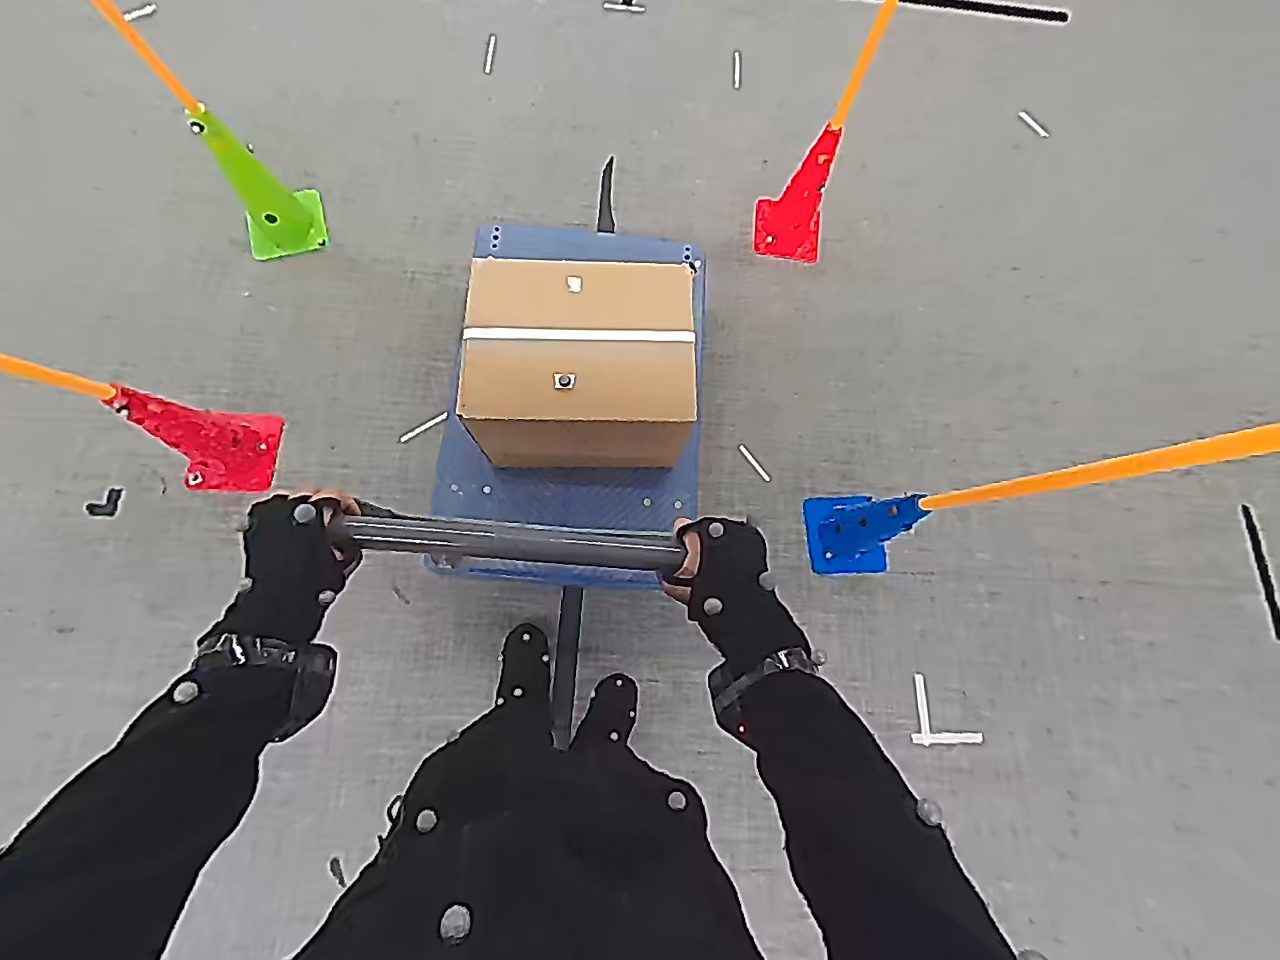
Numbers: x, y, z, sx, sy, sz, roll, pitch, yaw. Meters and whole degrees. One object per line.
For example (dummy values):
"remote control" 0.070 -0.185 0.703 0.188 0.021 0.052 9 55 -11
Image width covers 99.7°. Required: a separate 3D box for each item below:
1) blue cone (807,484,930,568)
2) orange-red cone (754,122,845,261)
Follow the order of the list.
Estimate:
"blue cone" 0.546 0.085 1.241 0.193 0.380 0.192 0 74 -5
"orange-red cone" 0.461 -0.796 1.456 0.199 0.360 0.198 10 75 -2
